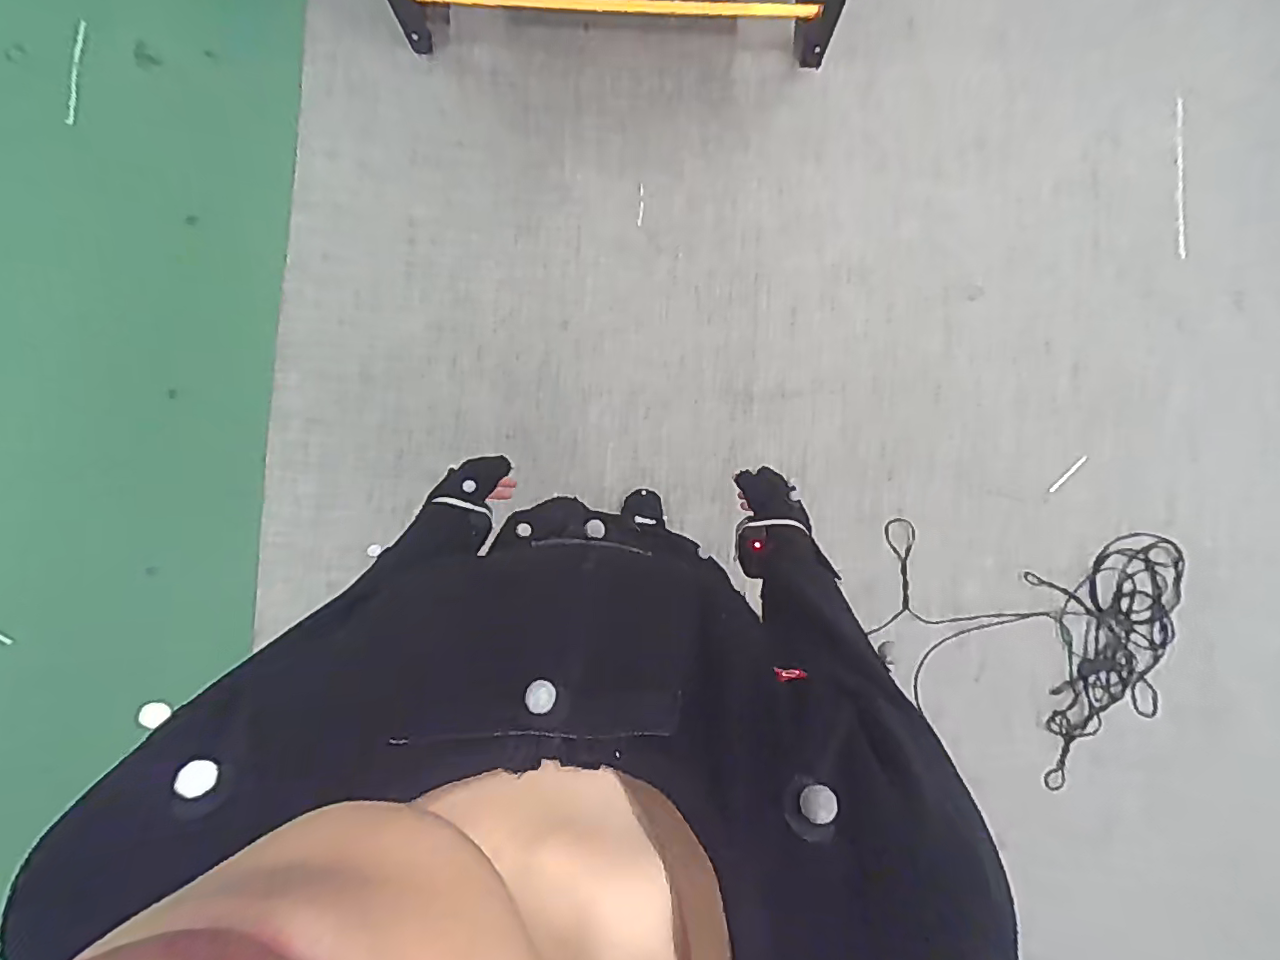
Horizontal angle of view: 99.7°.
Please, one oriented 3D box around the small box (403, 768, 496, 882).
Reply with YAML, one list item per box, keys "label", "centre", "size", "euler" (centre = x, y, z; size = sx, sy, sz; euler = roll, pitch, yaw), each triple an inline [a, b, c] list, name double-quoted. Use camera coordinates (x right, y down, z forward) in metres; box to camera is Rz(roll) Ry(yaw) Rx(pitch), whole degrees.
- label: "small box"
  centre: [-0.471, 0.857, 1.356]
  size: [0.168, 0.176, 0.179]
  euler: [5, 86, 1]
